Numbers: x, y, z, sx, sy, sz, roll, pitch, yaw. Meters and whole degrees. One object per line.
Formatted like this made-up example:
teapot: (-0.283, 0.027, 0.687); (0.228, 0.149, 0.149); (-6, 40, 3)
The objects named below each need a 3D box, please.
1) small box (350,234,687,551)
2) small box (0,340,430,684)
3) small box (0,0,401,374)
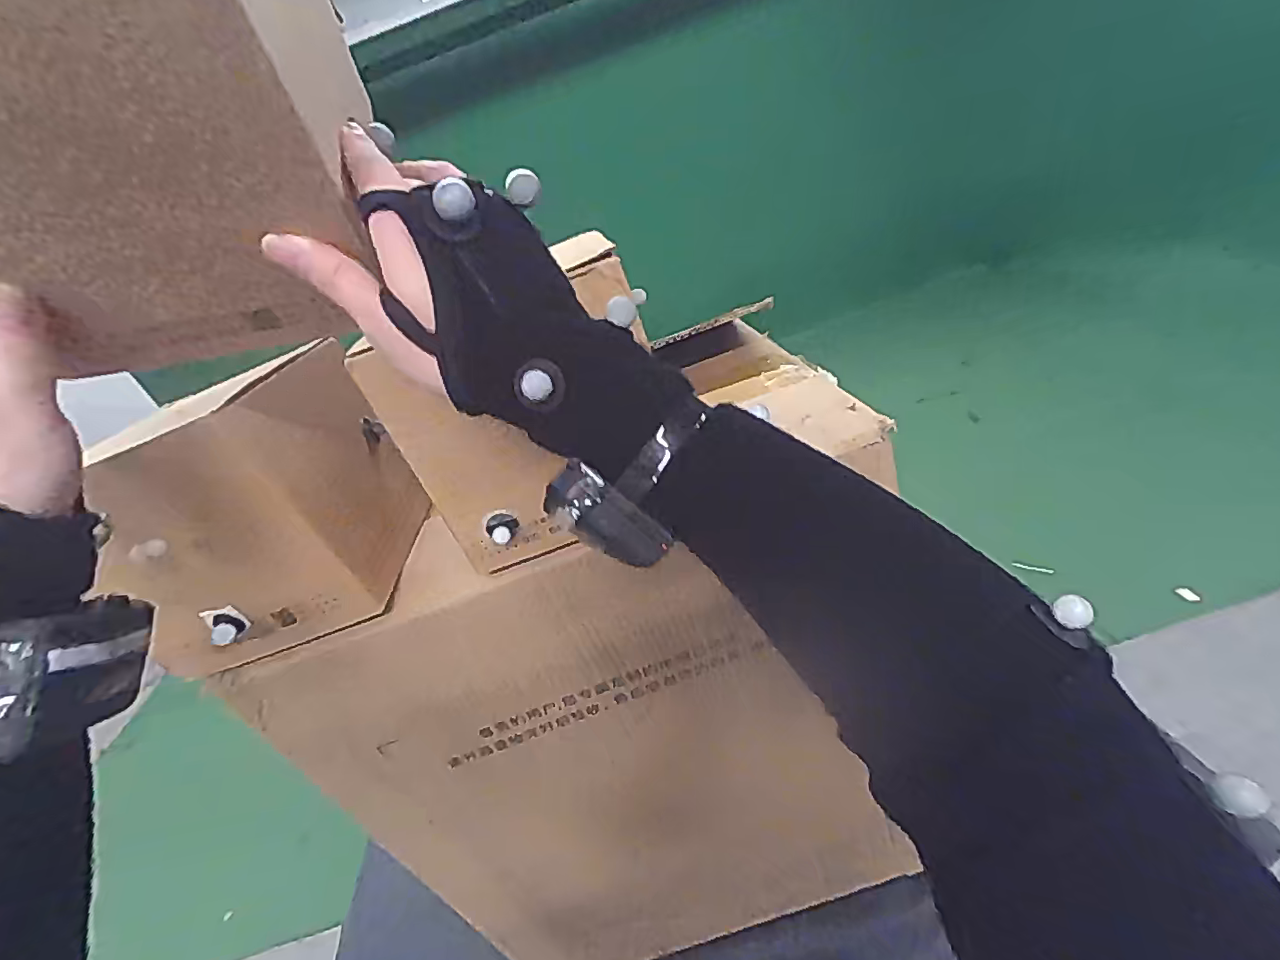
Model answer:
small box: (-0.075, -0.066, 0.412); (0.168, 0.176, 0.179); (-21, 29, 1)
small box: (-0.289, 0.019, 0.421); (0.168, 0.176, 0.179); (-23, 30, 4)
small box: (-0.222, -0.176, 0.238); (0.168, 0.176, 0.179); (-14, 67, -11)
